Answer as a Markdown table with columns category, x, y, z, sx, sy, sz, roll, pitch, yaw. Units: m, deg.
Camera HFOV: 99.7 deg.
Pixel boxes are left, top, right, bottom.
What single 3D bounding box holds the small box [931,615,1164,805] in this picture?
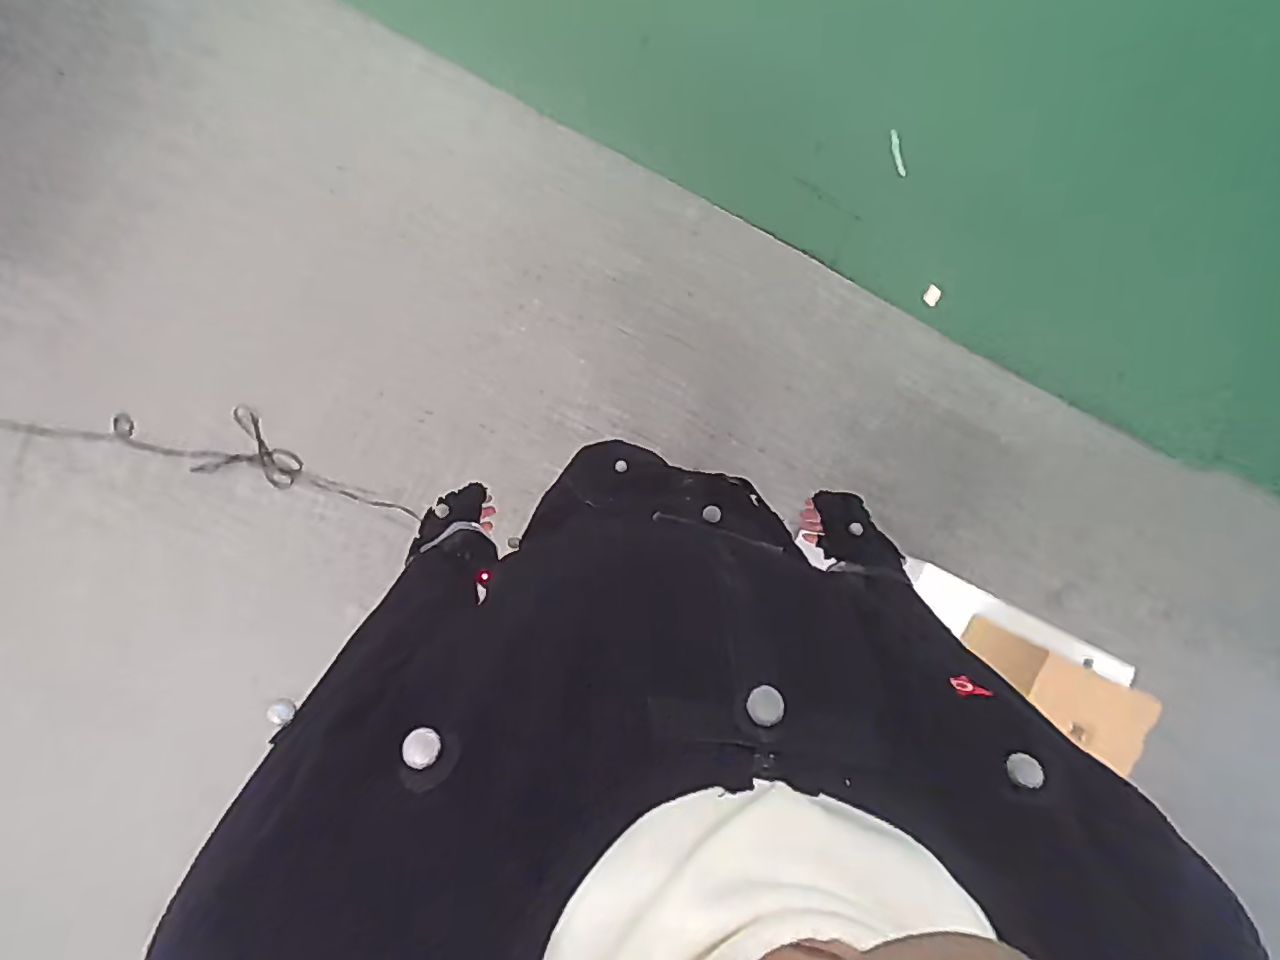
| category | x | y | z | sx | sy | sz | roll | pitch | yaw |
| --- | --- | --- | --- | --- | --- | --- | --- | --- | --- |
| small box | 0.577 | 0.320 | 0.791 | 0.179 | 0.176 | 0.168 | 25 | 93 | -2 |
